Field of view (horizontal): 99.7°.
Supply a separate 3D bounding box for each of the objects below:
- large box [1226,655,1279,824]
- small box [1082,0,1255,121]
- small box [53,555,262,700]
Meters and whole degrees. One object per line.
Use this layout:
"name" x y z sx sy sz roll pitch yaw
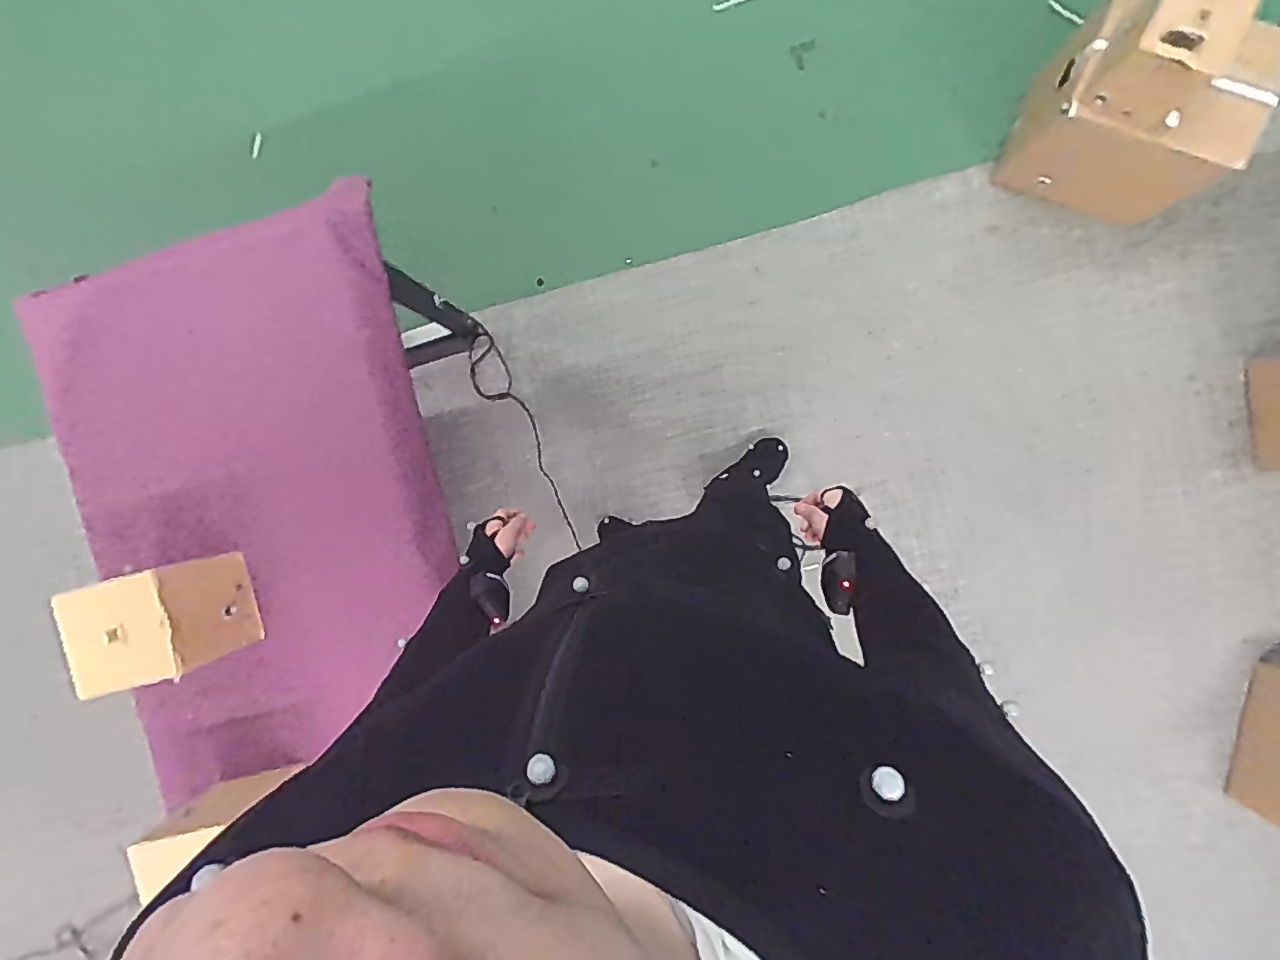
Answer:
"large box" 1.822 0.712 1.370 0.320 0.320 0.408 9 92 4
"small box" 1.070 -0.891 1.112 0.168 0.176 0.179 25 94 2
"small box" -0.777 0.232 0.888 0.179 0.176 0.168 -15 91 4
